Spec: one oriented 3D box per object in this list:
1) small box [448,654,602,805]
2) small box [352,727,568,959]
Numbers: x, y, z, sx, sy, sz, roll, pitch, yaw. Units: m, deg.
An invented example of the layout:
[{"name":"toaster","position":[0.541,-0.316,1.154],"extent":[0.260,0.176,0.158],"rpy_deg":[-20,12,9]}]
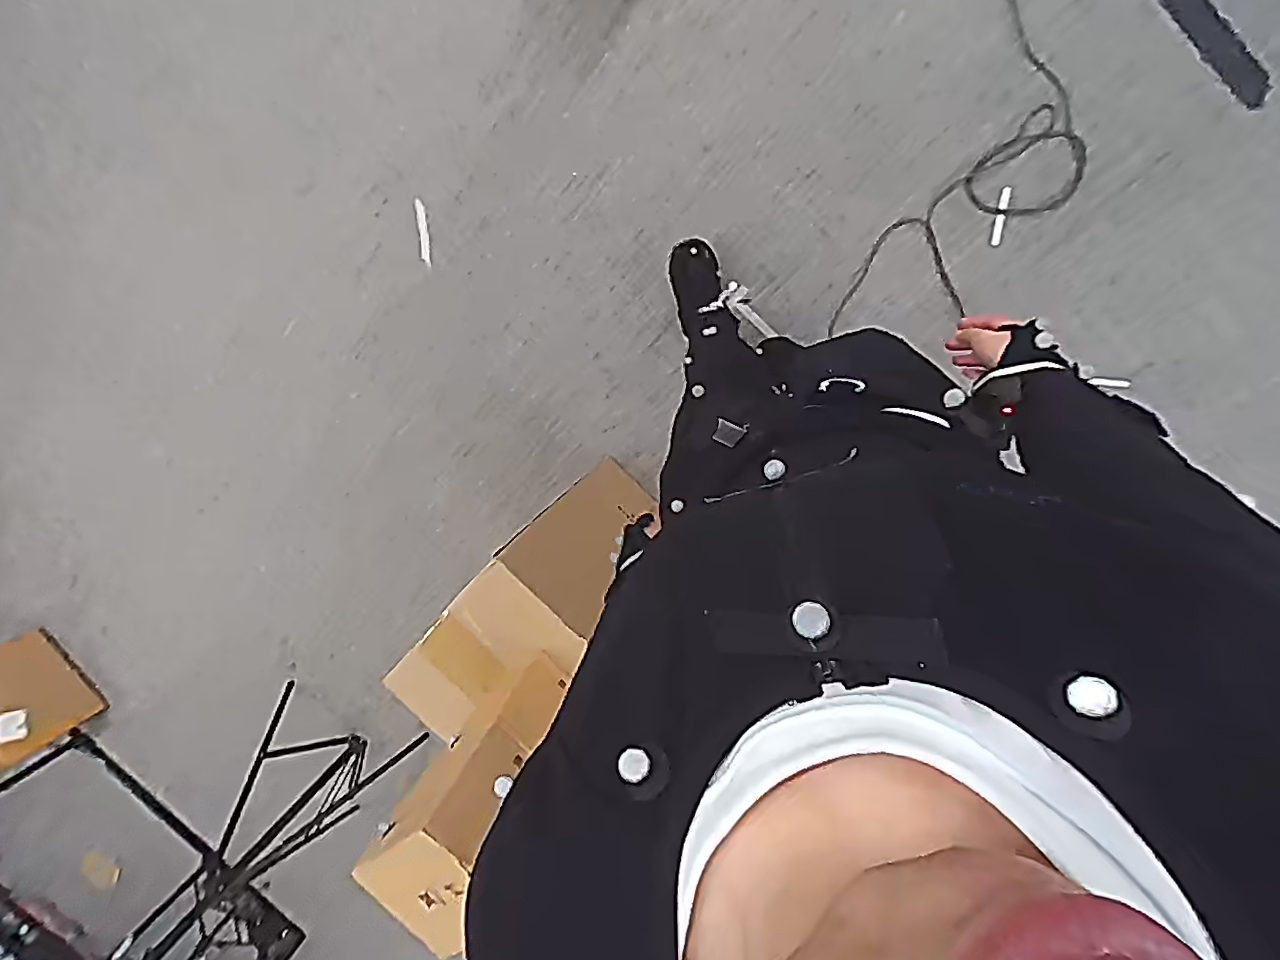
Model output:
[{"name":"small box","position":[-0.179,0.415,0.862],"extent":[0.168,0.176,0.179],"rpy_deg":[46,113,-4]},{"name":"small box","position":[-0.224,0.470,0.713],"extent":[0.179,0.176,0.168],"rpy_deg":[-40,96,23]}]
